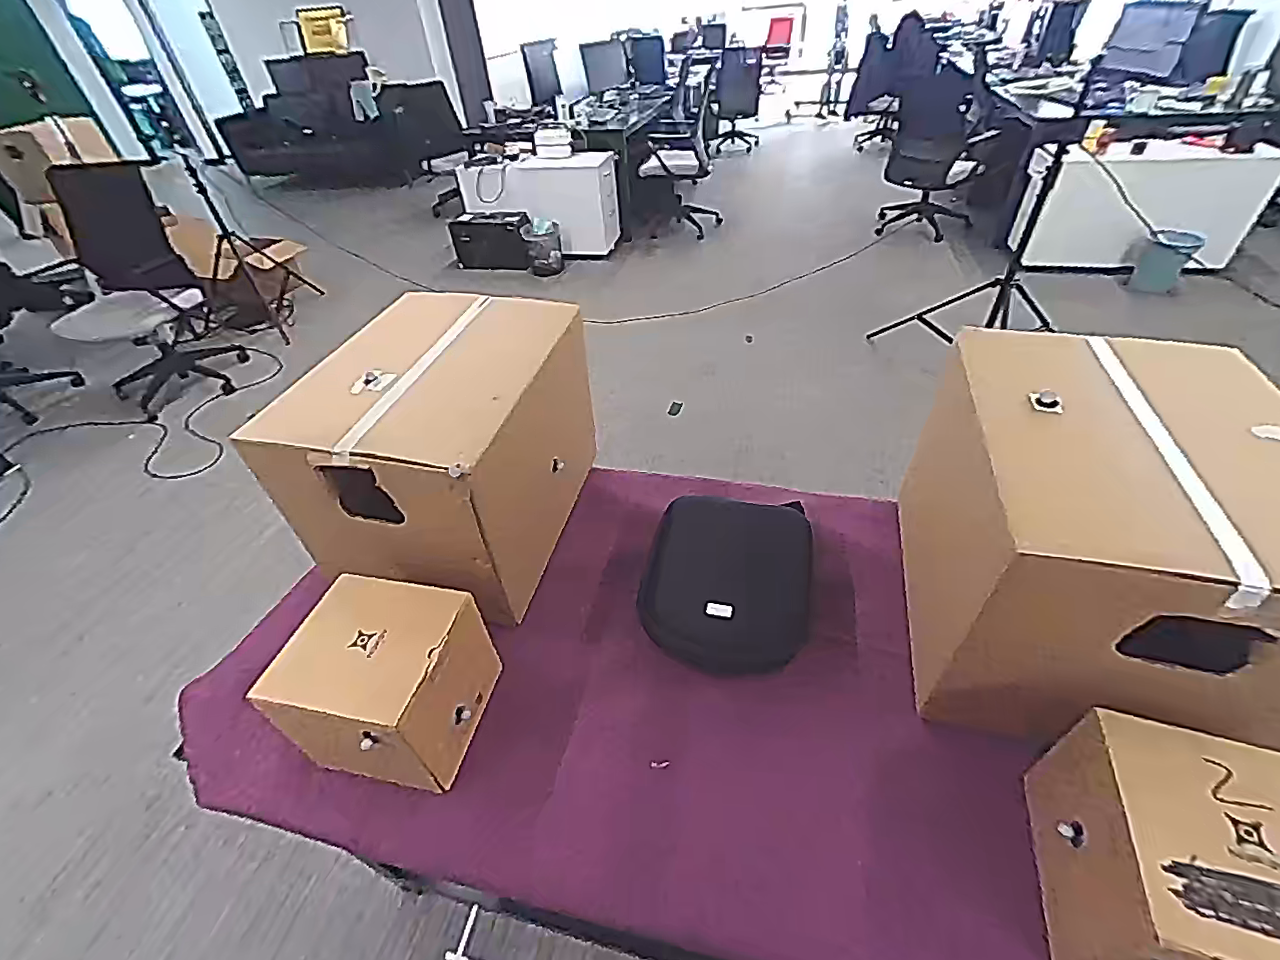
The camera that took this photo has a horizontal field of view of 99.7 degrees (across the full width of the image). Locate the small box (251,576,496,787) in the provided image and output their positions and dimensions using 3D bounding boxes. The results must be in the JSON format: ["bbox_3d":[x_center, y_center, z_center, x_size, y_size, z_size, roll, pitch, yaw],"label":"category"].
[{"bbox_3d":[-0.297,0.240,0.648,0.179,0.176,0.168,6,41,10],"label":"small box"}]

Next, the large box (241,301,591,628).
[{"bbox_3d":[-0.283,-0.040,0.854,0.320,0.320,0.408,7,45,11],"label":"large box"}]
